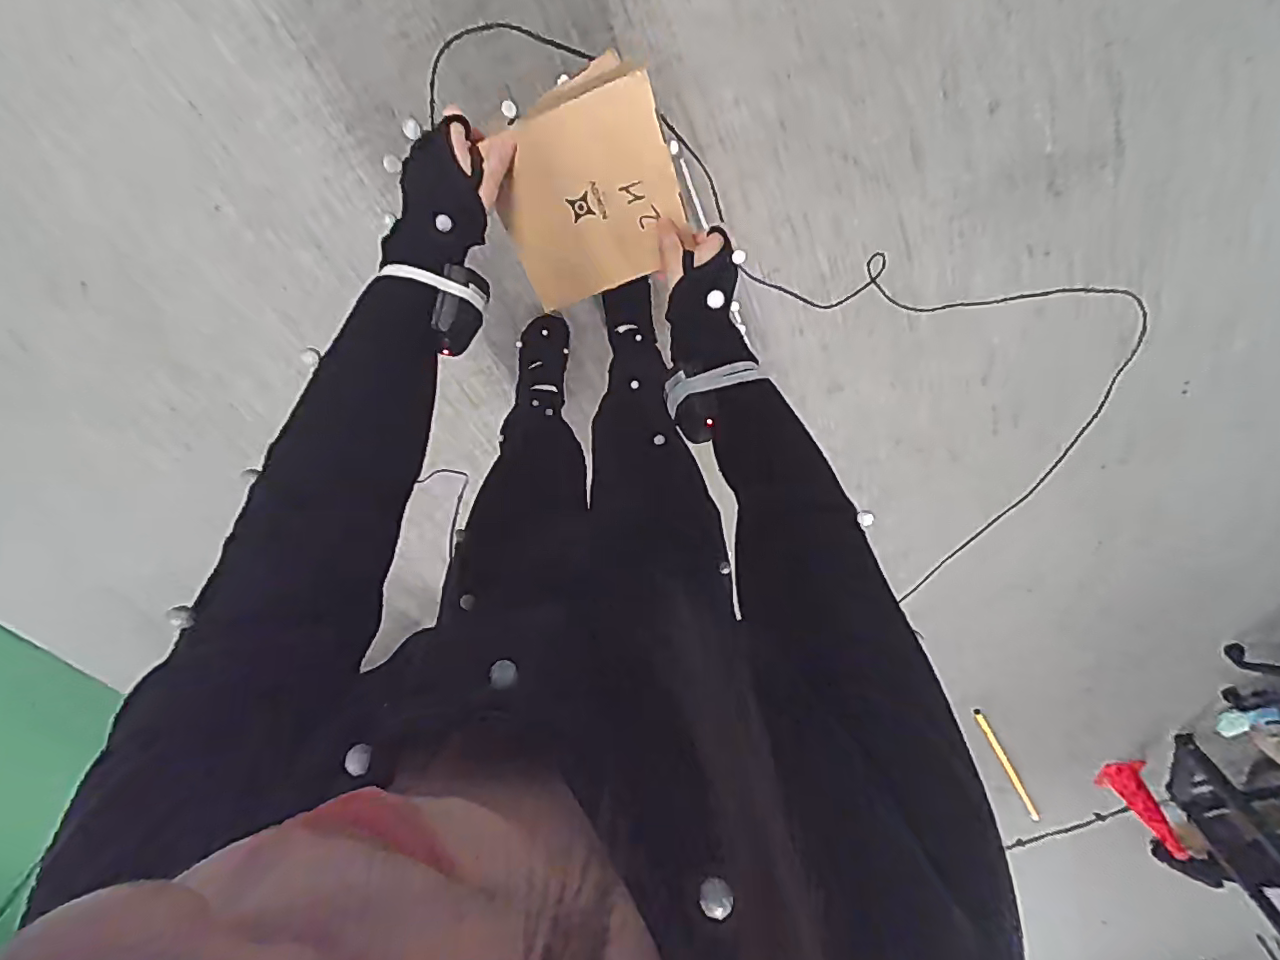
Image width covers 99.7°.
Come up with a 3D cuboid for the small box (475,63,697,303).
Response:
[{"bbox_3d":[-0.049,-0.325,0.593,0.179,0.176,0.168,-17,129,10],"label":"small box"}]
